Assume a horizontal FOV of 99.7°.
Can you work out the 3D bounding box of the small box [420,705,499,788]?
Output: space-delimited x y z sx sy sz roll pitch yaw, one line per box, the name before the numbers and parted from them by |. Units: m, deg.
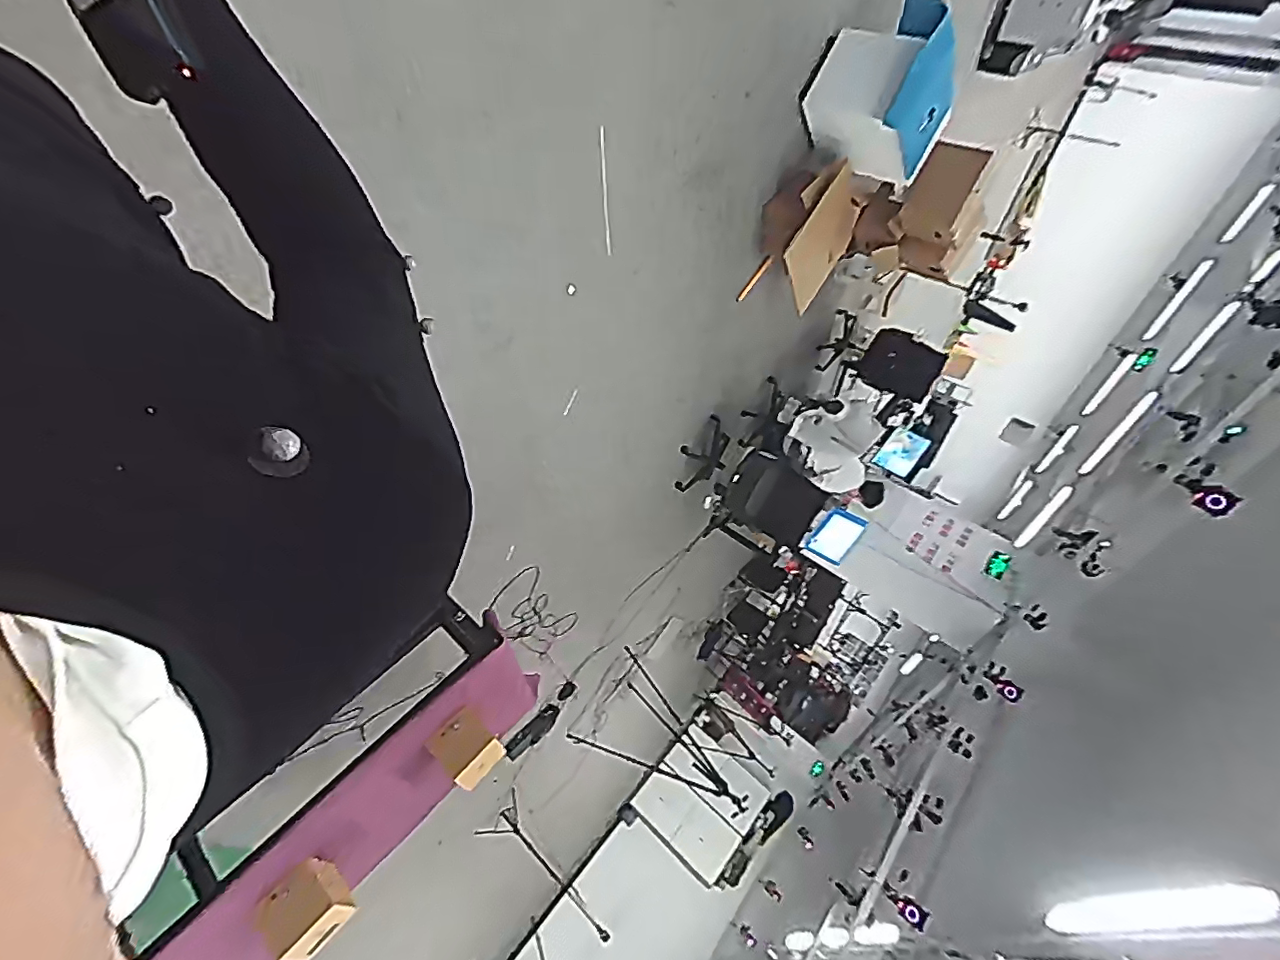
small box | -0.602 0.888 1.809 0.168 0.176 0.179 -42 151 -29
